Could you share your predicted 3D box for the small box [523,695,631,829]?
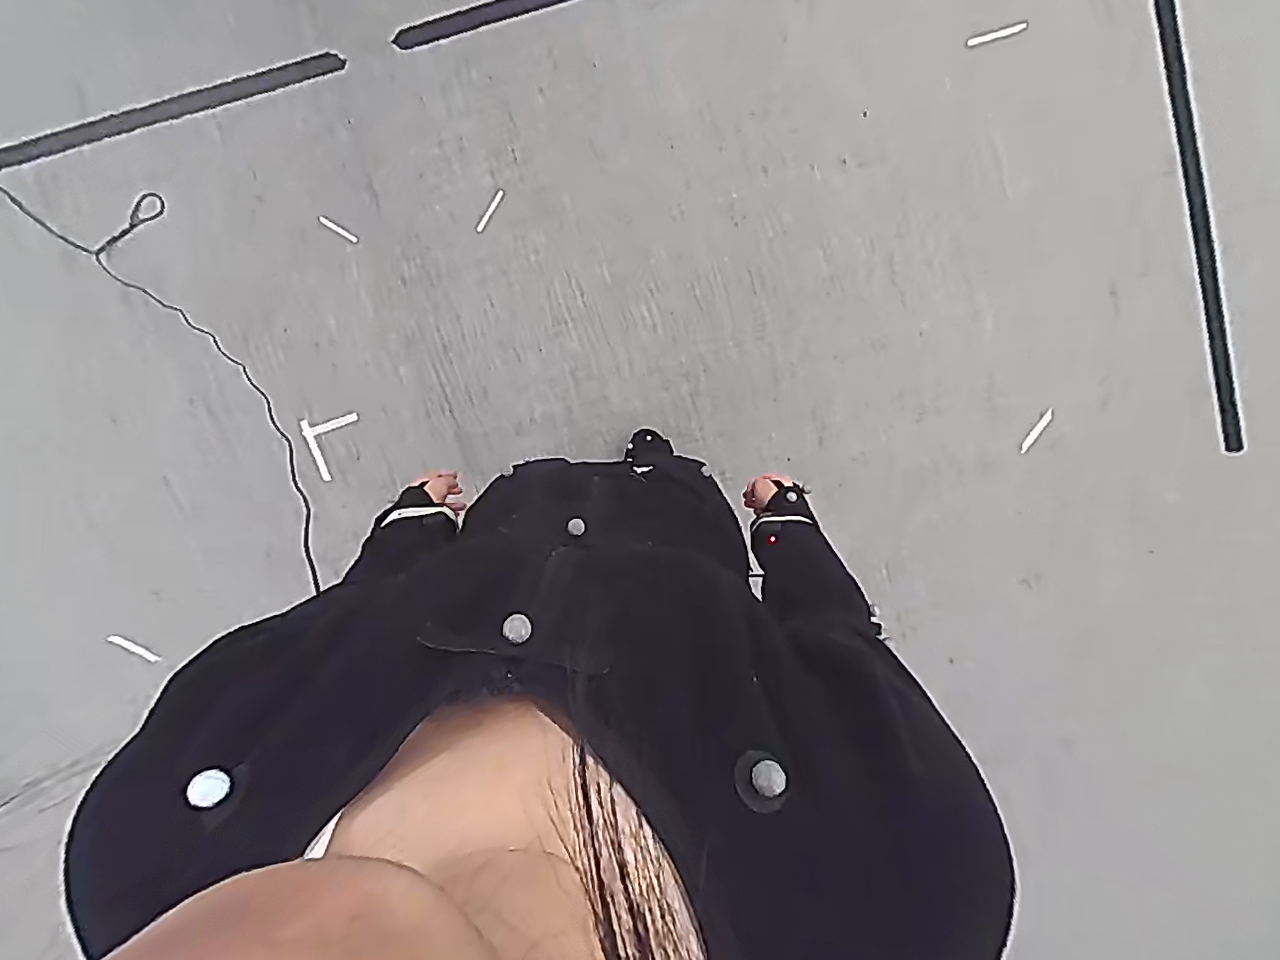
[{"bbox_3d":[-0.126,0.596,1.163,0.179,0.176,0.168,-19,96,3],"label":"small box"}]
